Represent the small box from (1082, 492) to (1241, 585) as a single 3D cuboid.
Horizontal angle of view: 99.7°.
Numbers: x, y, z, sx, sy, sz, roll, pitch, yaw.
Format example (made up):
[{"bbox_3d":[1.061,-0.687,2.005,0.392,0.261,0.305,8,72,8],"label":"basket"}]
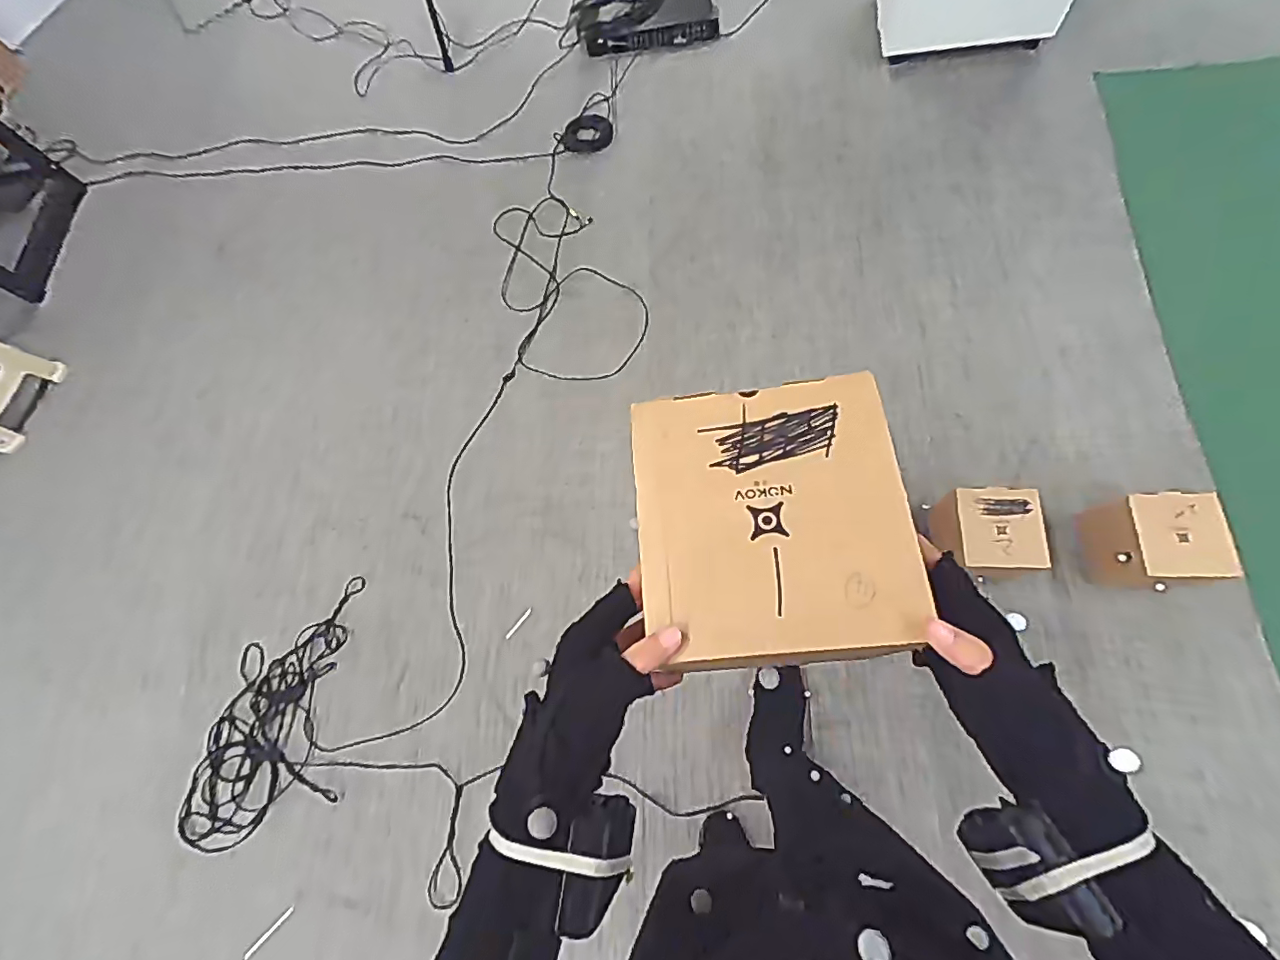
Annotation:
[{"bbox_3d":[1.104,0.132,1.162,0.168,0.176,0.179,-1,72,8],"label":"small box"}]
